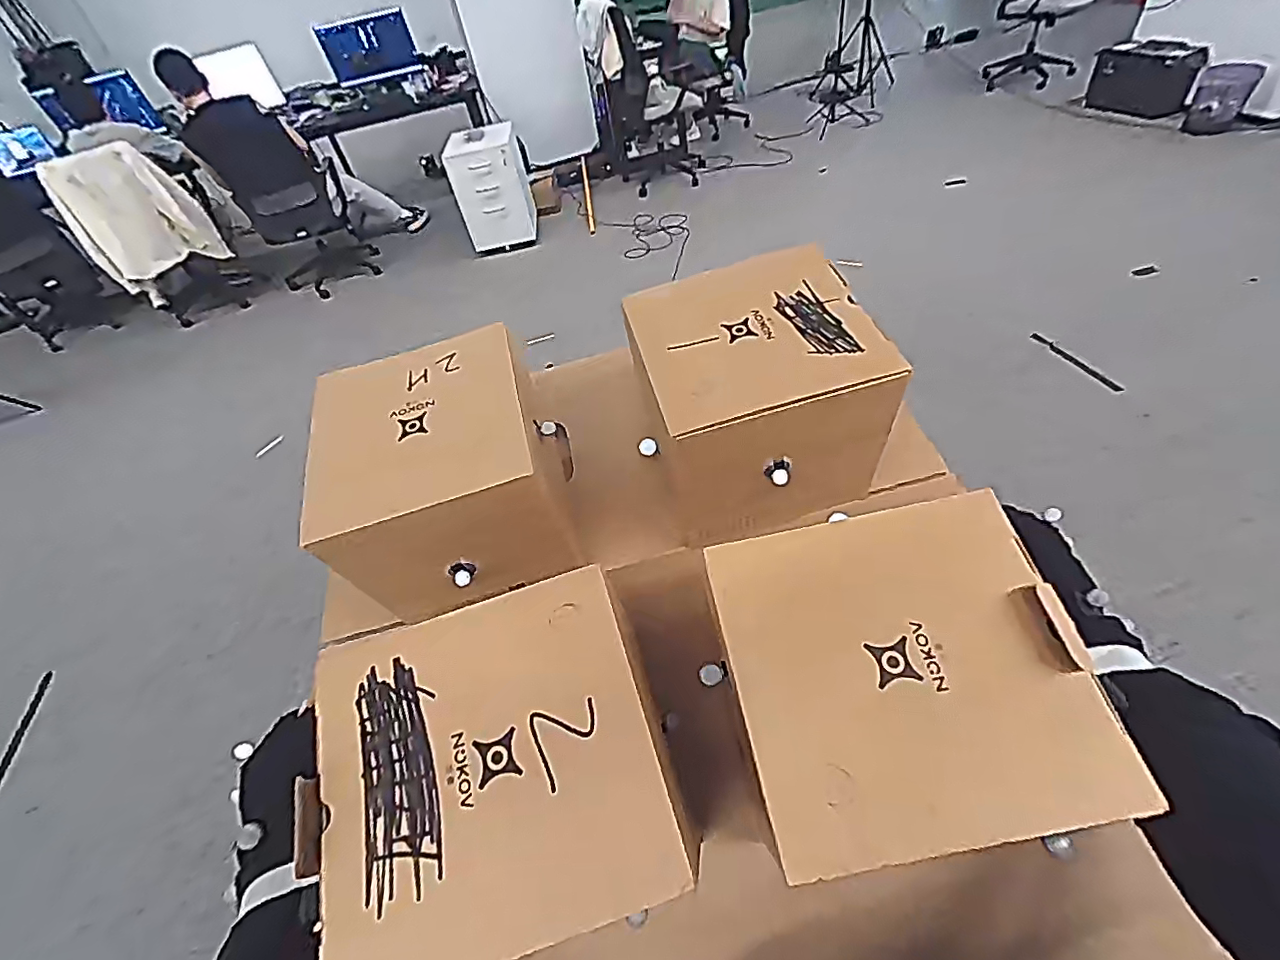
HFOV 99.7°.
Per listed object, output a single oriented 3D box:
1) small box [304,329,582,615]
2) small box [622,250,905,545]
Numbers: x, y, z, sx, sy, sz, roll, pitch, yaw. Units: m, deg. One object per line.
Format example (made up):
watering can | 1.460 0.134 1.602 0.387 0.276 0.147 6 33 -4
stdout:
small box | -0.159 0.004 0.481 0.168 0.176 0.179 -17 54 -2
small box | 0.095 -0.065 0.481 0.179 0.176 0.168 -16 55 0
